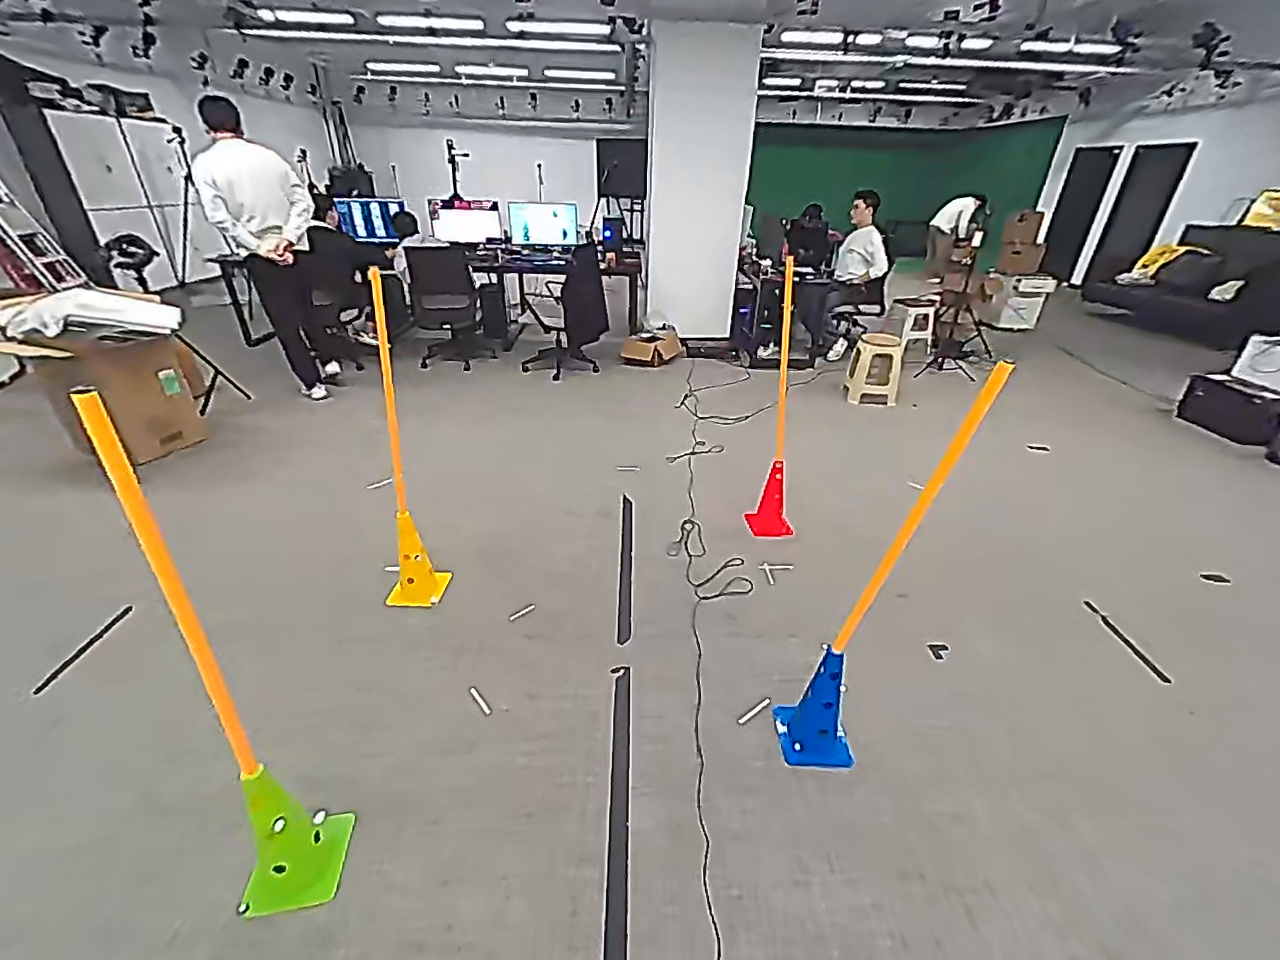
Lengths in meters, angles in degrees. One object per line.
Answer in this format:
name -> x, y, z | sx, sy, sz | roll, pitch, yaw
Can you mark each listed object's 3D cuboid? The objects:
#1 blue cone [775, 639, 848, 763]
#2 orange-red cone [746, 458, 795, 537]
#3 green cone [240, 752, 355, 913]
blue cone -> 0.517, 0.612, 1.538 | 0.193, 0.380, 0.192 | 2, 28, 1
orange-red cone -> 0.623, 0.066, 2.500 | 0.199, 0.360, 0.198 | -3, 29, -5
green cone -> -0.800, 0.746, 1.204 | 0.200, 0.368, 0.202 | -4, 28, -11
